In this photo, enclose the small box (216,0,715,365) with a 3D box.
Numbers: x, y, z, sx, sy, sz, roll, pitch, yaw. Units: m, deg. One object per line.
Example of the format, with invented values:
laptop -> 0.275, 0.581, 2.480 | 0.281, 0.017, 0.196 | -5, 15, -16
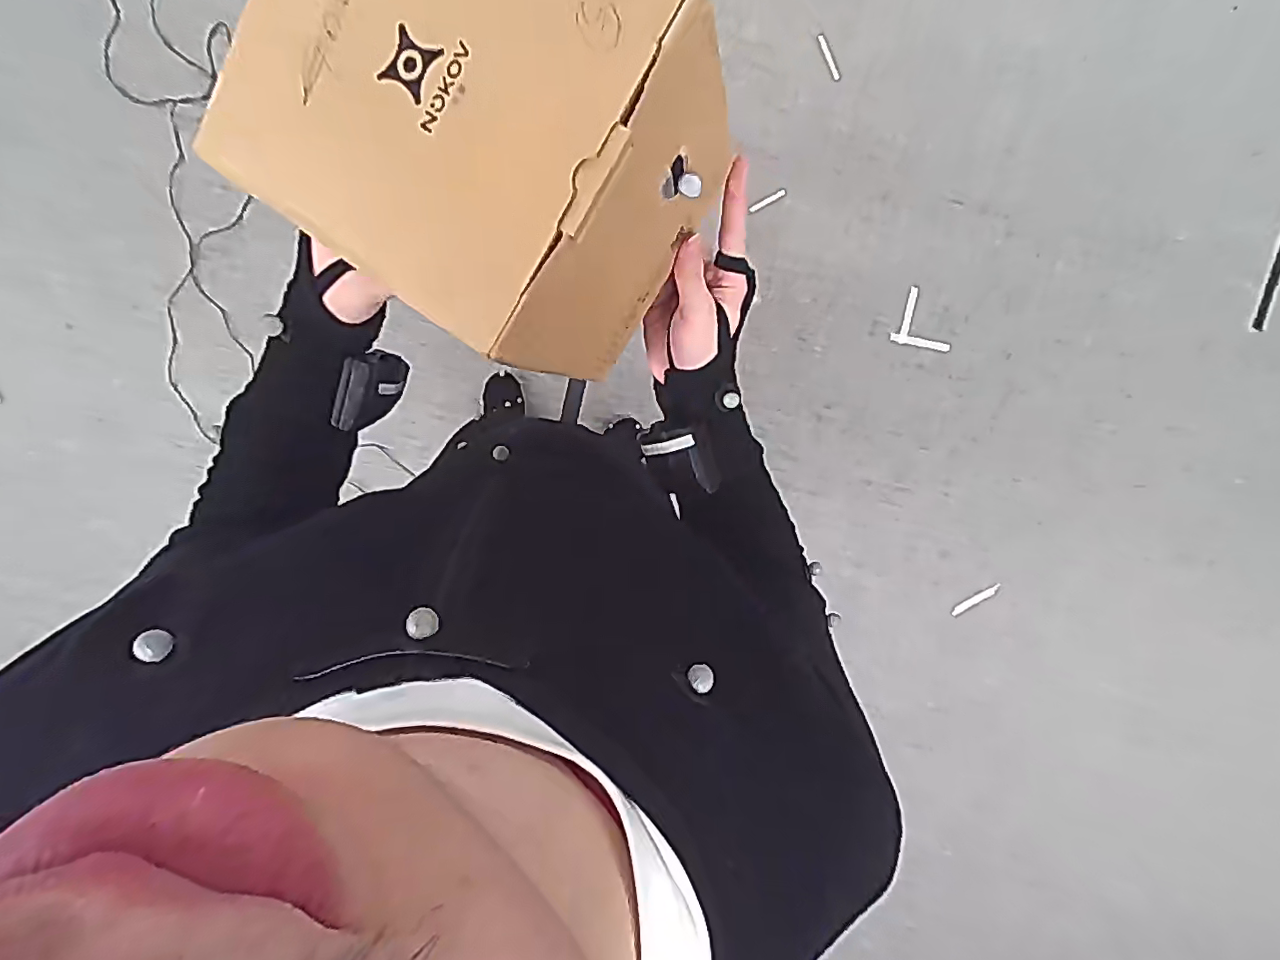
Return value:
small box -> -0.072, -0.179, 0.309 | 0.179, 0.176, 0.168 | 35, 102, 7
